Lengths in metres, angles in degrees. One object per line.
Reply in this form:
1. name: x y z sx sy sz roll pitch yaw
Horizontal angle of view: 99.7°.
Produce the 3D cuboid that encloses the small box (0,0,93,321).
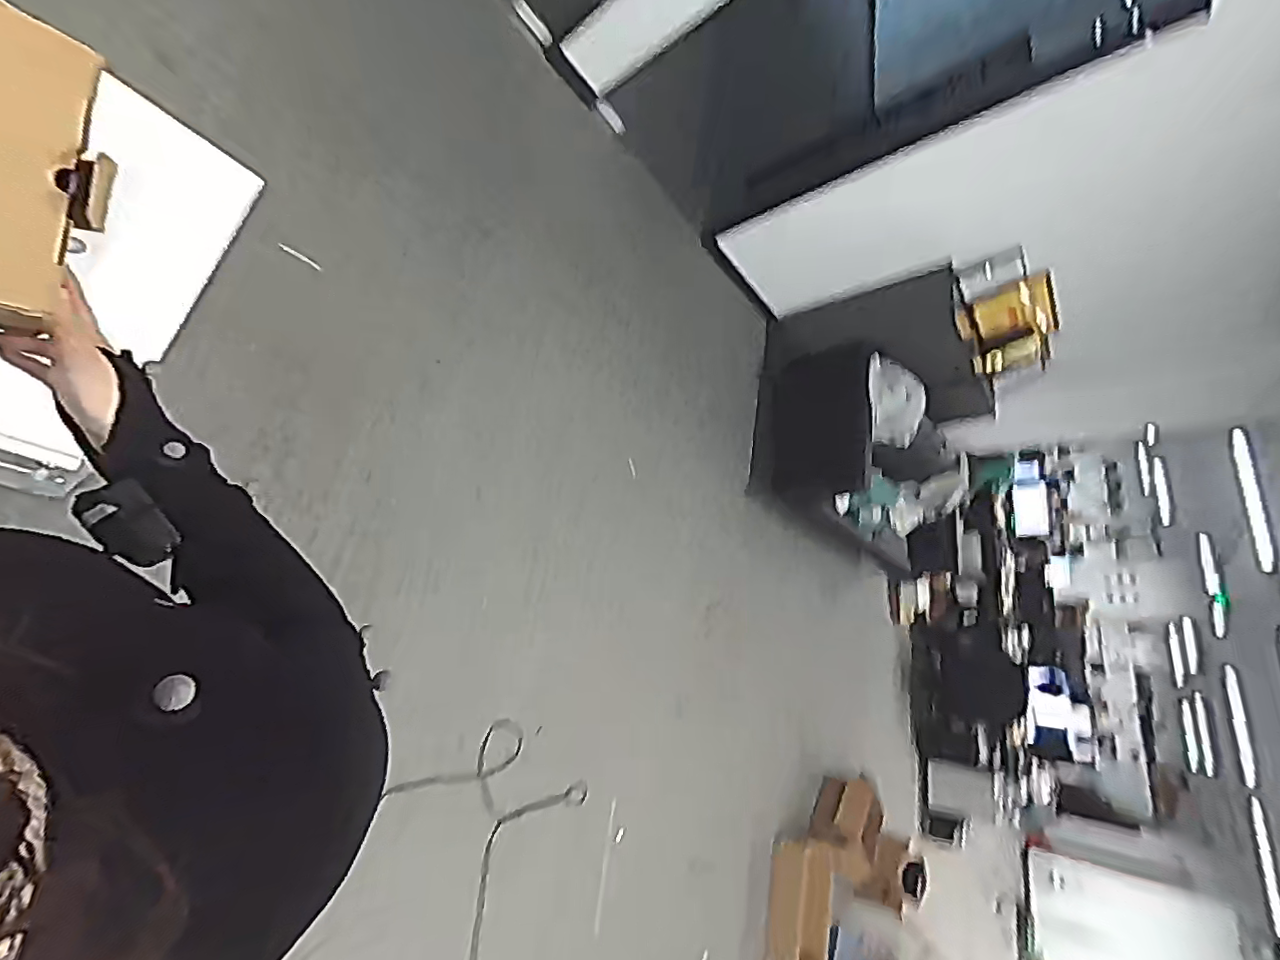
1. small box: -0.458 -0.198 0.308 0.179 0.176 0.168 9 89 -52
